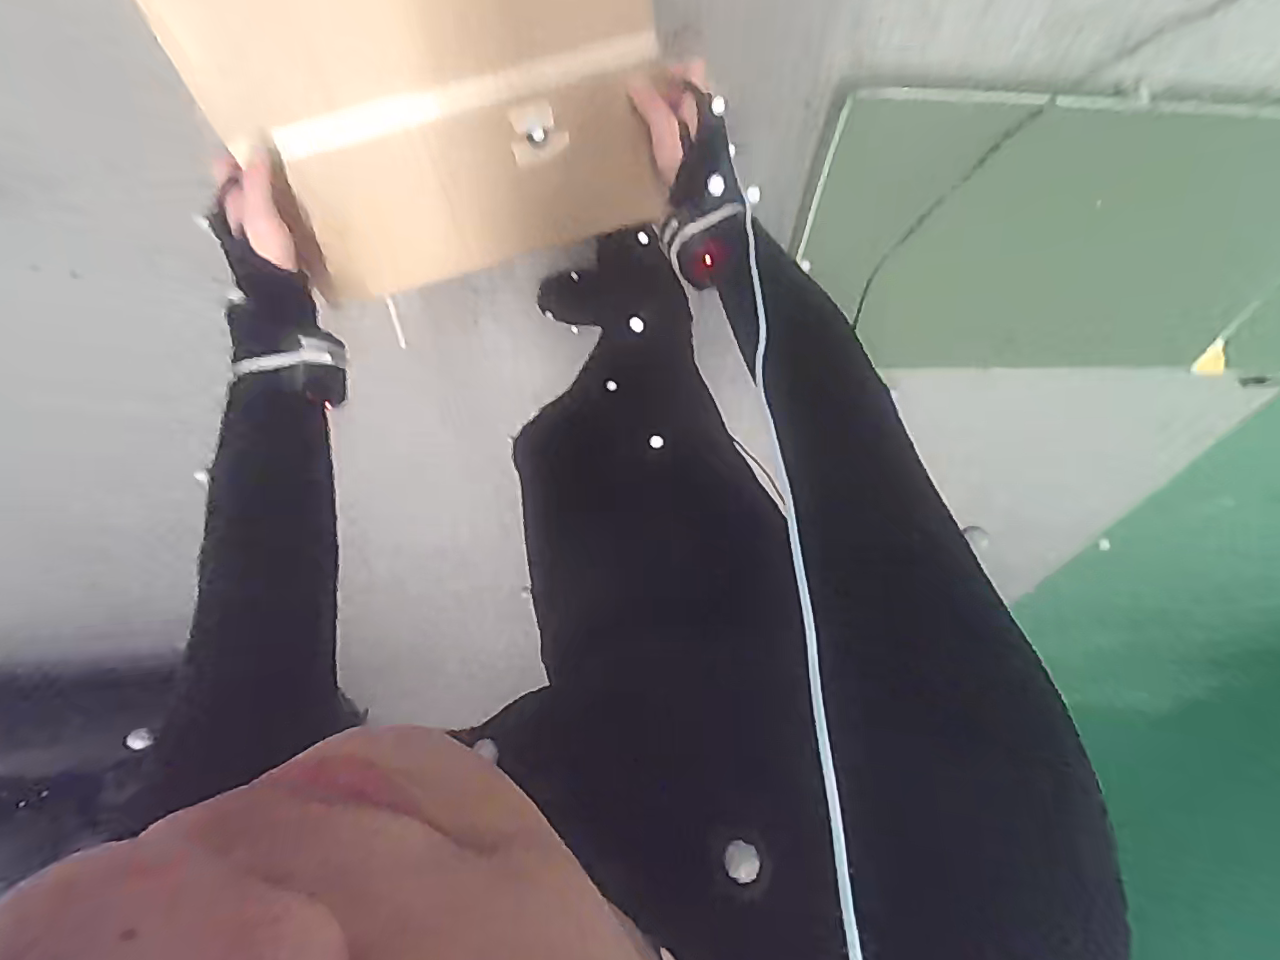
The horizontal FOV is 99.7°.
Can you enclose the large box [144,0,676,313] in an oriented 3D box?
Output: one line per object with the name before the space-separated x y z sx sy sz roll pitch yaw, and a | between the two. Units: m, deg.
large box | -0.216 -0.448 0.615 0.408 0.320 0.320 -20 135 -5
